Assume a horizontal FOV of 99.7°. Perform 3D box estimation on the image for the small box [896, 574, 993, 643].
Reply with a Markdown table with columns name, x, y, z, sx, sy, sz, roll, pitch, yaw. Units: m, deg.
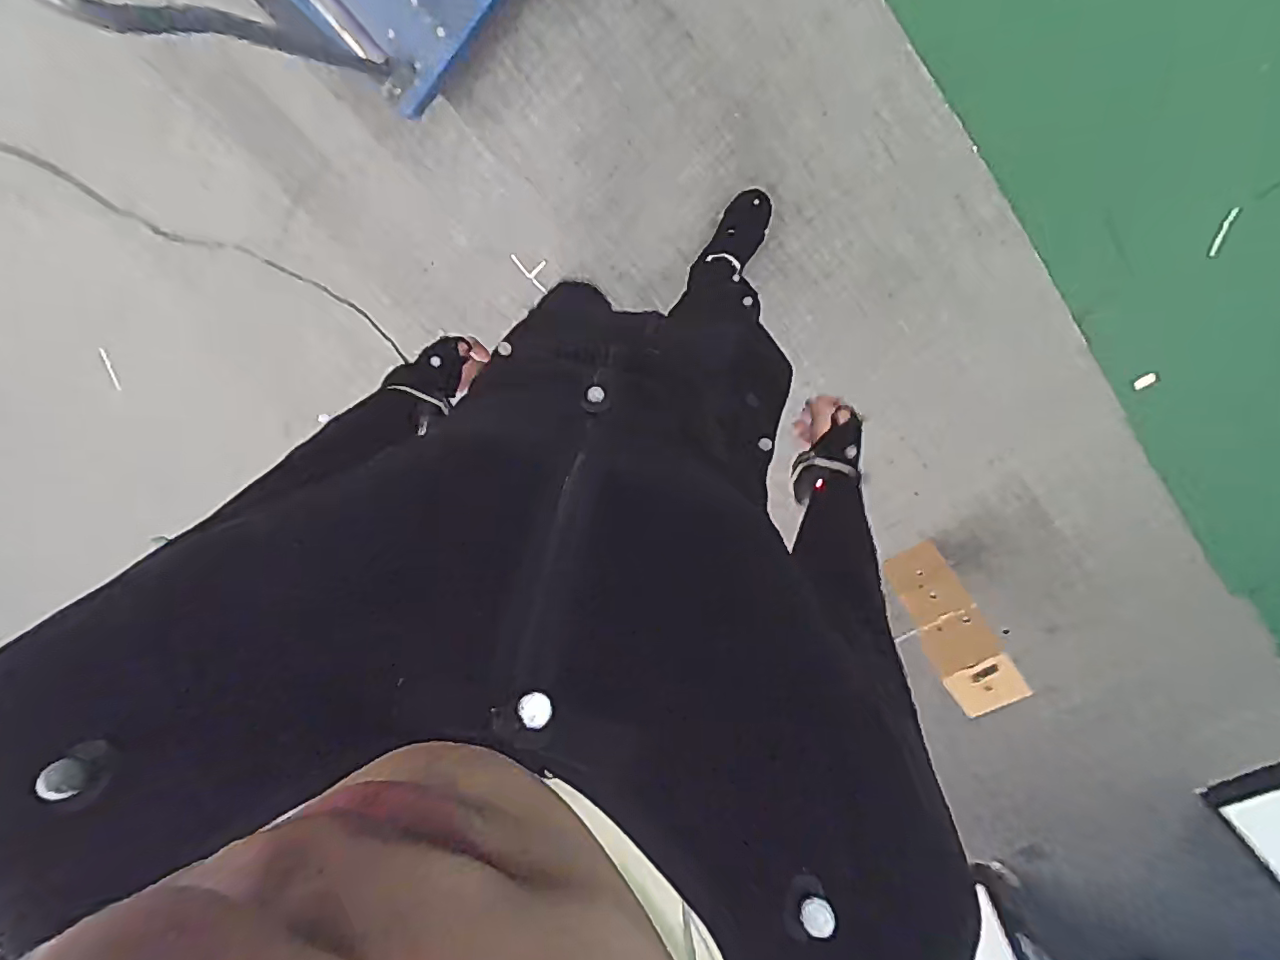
| name | x | y | z | sx | sy | sz | roll | pitch | yaw |
| --- | --- | --- | --- | --- | --- | --- | --- | --- | --- |
| small box | 0.888 | 0.401 | 1.594 | 0.168 | 0.176 | 0.179 | -32 | 109 | 20 |

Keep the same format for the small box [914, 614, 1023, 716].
| name | x | y | z | sx | sy | sz | roll | pitch | yaw |
| --- | --- | --- | --- | --- | --- | --- | --- | --- | --- |
| small box | 0.873 | 0.488 | 1.455 | 0.168 | 0.176 | 0.179 | -33 | 110 | 20 |

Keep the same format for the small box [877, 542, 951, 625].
| name | x | y | z | sx | sy | sz | roll | pitch | yaw |
| --- | --- | --- | --- | --- | --- | --- | --- | --- | --- |
| small box | 0.900 | 0.331 | 1.742 | 0.179 | 0.176 | 0.168 | -32 | 110 | 20 |
